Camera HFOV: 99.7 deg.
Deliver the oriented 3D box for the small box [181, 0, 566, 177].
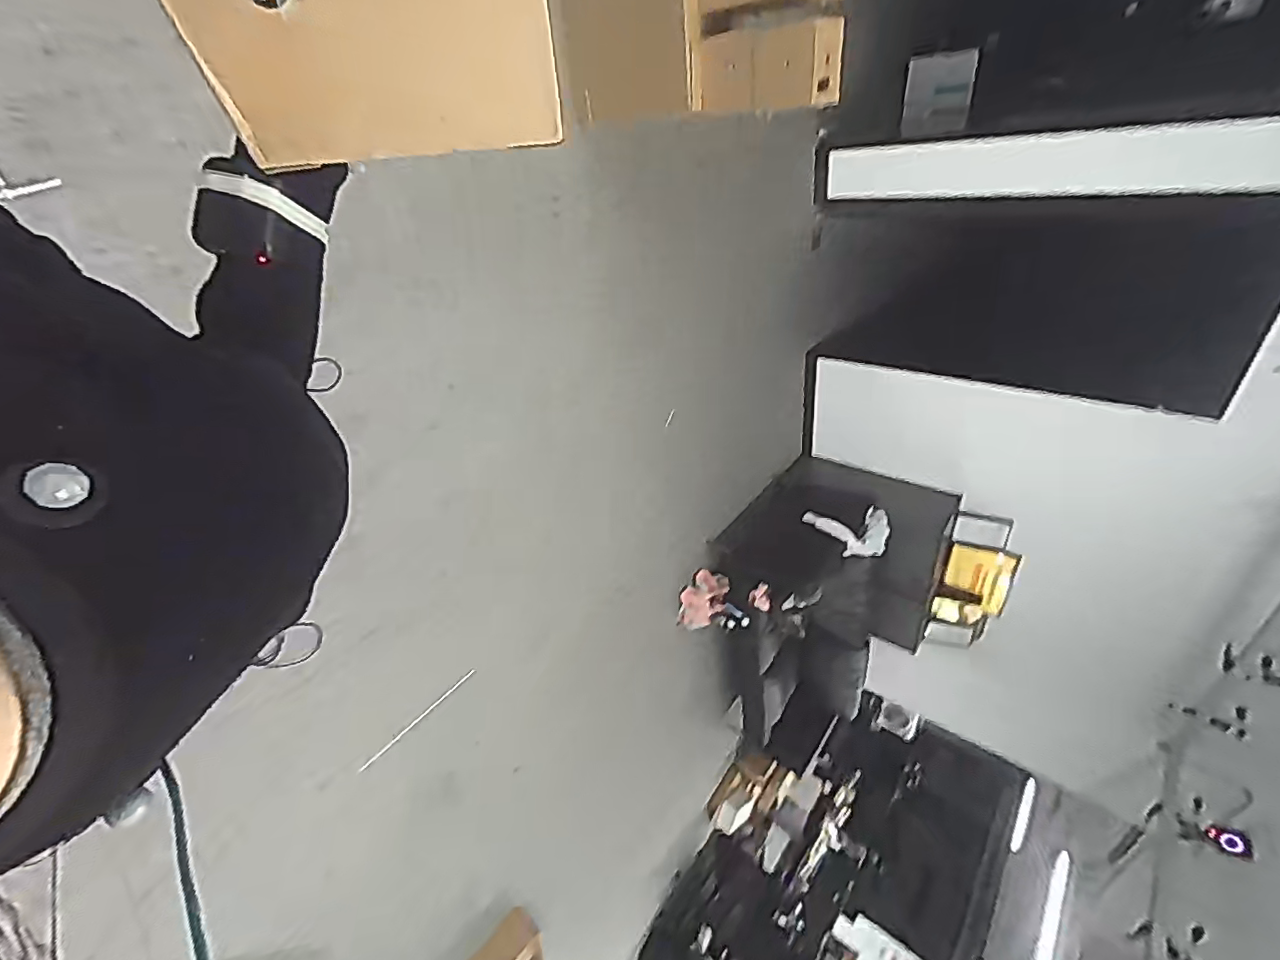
[{"bbox_3d":[-0.136,-0.289,0.276,0.176,0.168,0.179,88,-6,-55],"label":"small box"}]
